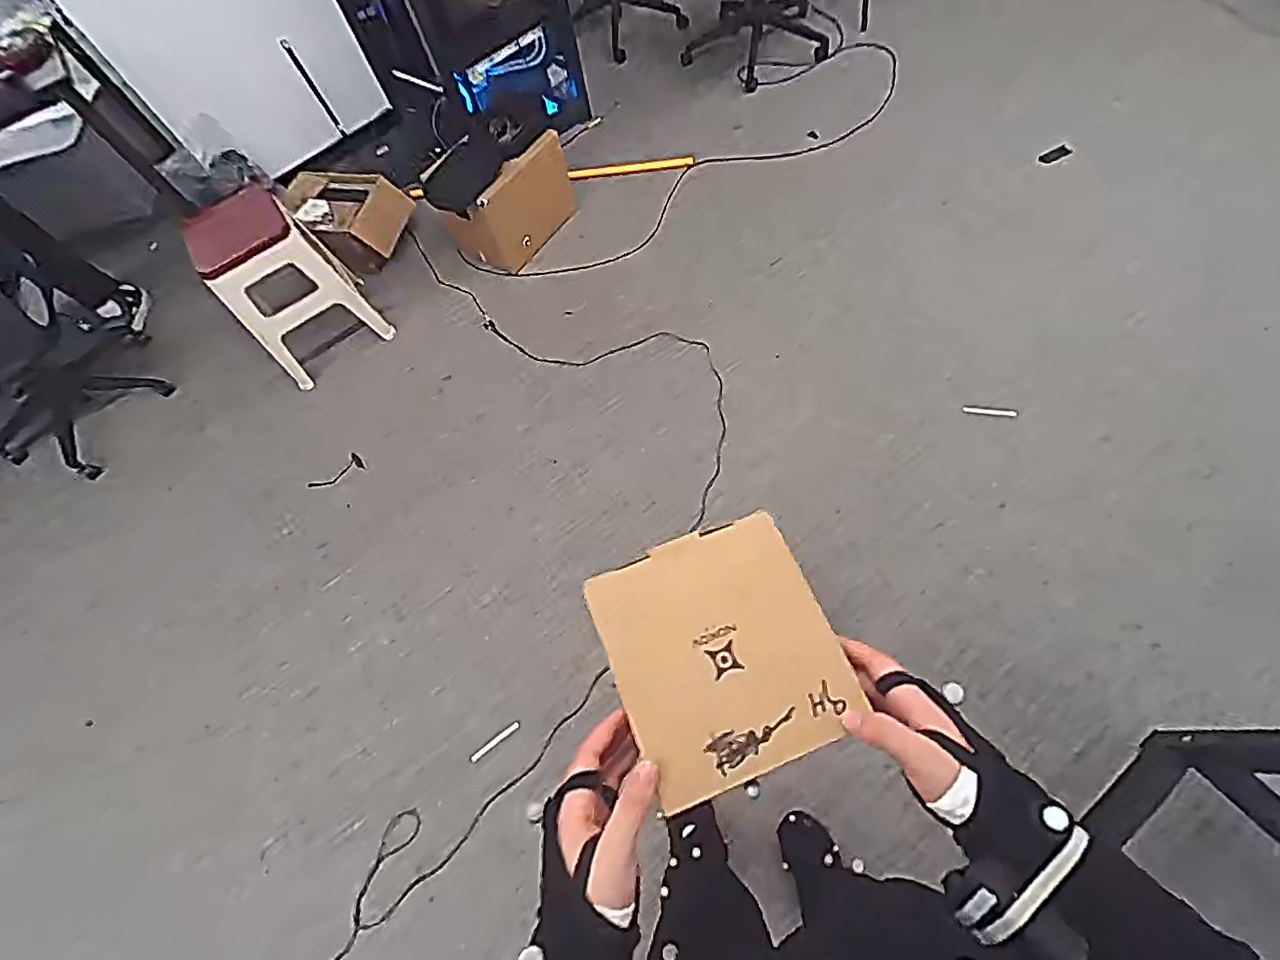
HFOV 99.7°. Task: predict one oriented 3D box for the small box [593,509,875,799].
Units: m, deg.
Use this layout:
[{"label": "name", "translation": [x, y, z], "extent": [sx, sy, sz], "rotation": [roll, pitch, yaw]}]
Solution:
[{"label": "small box", "translation": [0.069, 0.156, 0.486], "extent": [0.168, 0.176, 0.179], "rotation": [-21, 66, -5]}]
